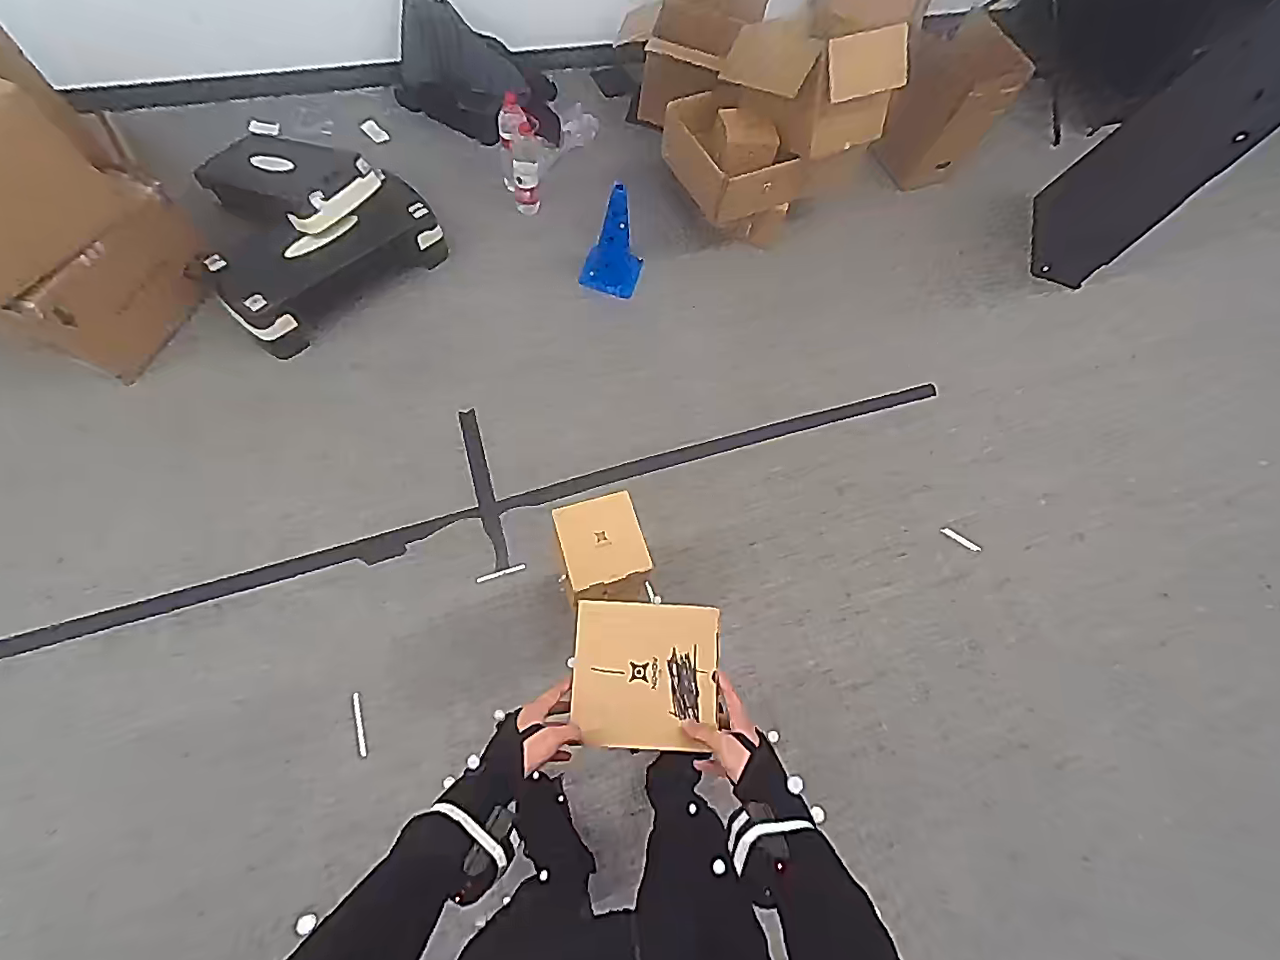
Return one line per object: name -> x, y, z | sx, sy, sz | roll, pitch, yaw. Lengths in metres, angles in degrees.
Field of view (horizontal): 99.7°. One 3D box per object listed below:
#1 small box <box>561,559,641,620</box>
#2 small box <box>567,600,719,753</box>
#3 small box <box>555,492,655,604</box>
small box -> -0.112, 0.278, 1.457 | 0.168, 0.176, 0.179 | -18, 72, -14
small box -> 0.004, 0.256, 0.722 | 0.179, 0.176, 0.168 | 3, 72, 0
small box -> -0.082, 0.151, 1.156 | 0.168, 0.176, 0.179 | -14, 71, -13
